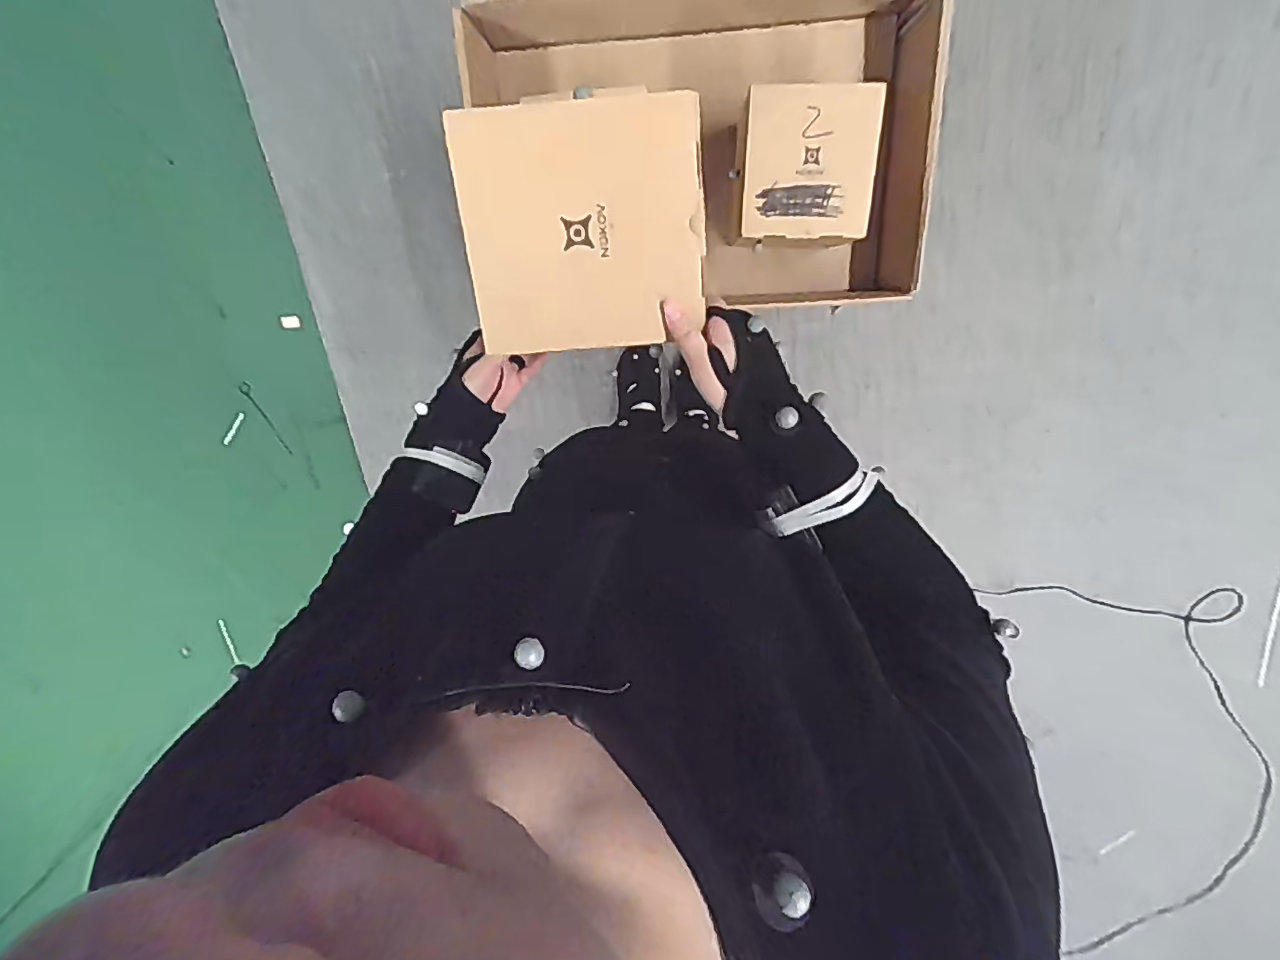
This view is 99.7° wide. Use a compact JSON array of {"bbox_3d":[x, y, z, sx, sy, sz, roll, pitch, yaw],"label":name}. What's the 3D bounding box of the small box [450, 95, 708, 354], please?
[{"bbox_3d":[-0.041,-0.207,0.469,0.179,0.176,0.168,-5,111,-1],"label":"small box"}]
